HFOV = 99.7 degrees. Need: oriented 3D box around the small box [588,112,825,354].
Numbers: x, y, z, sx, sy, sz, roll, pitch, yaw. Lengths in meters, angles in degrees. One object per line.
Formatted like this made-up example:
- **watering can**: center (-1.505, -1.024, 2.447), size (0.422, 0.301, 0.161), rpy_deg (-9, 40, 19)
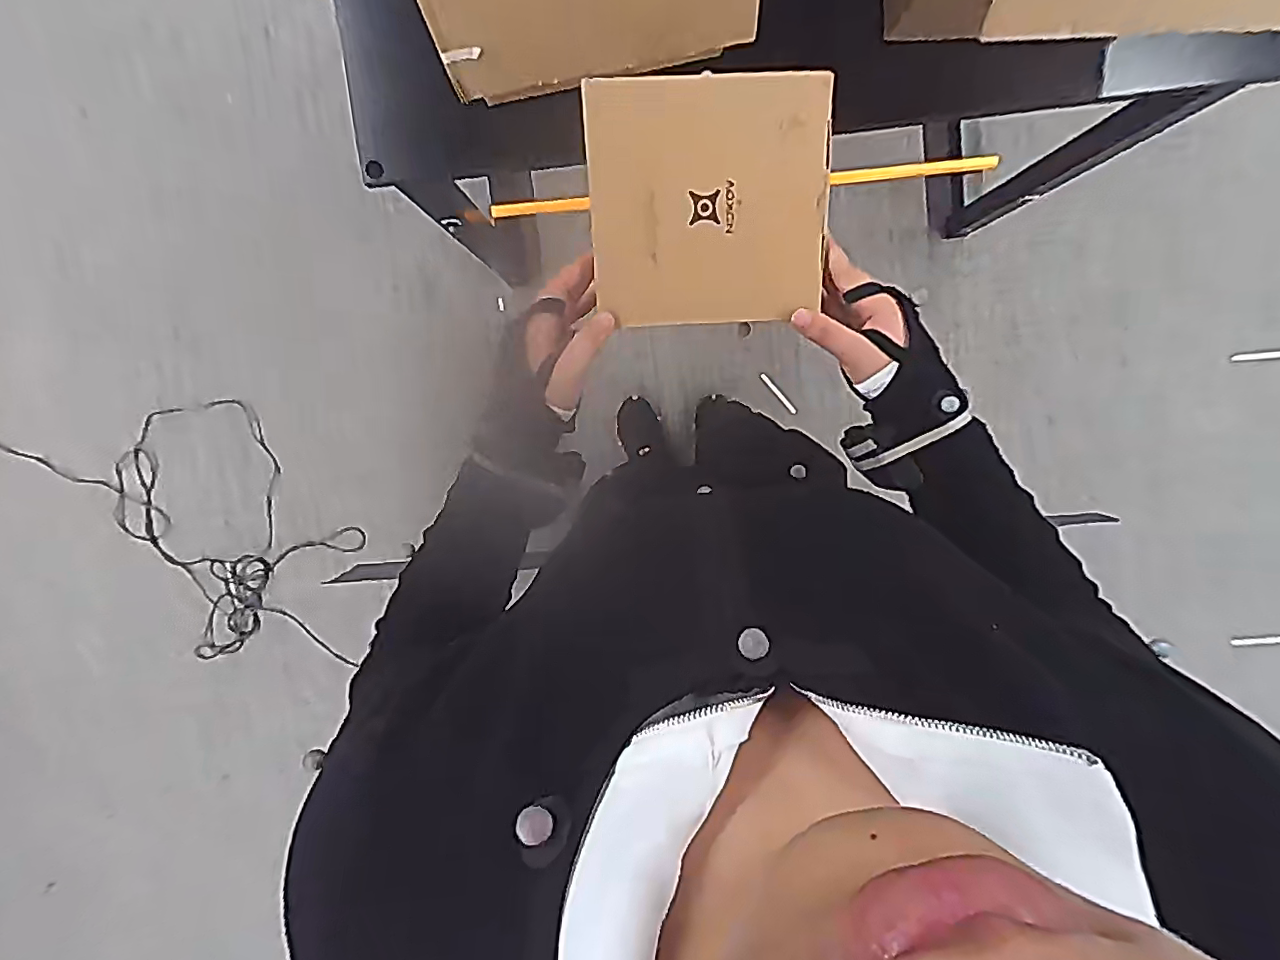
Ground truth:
- **small box**: center (0.049, -0.208, 0.489), size (0.179, 0.176, 0.168), rpy_deg (-4, 107, 0)
